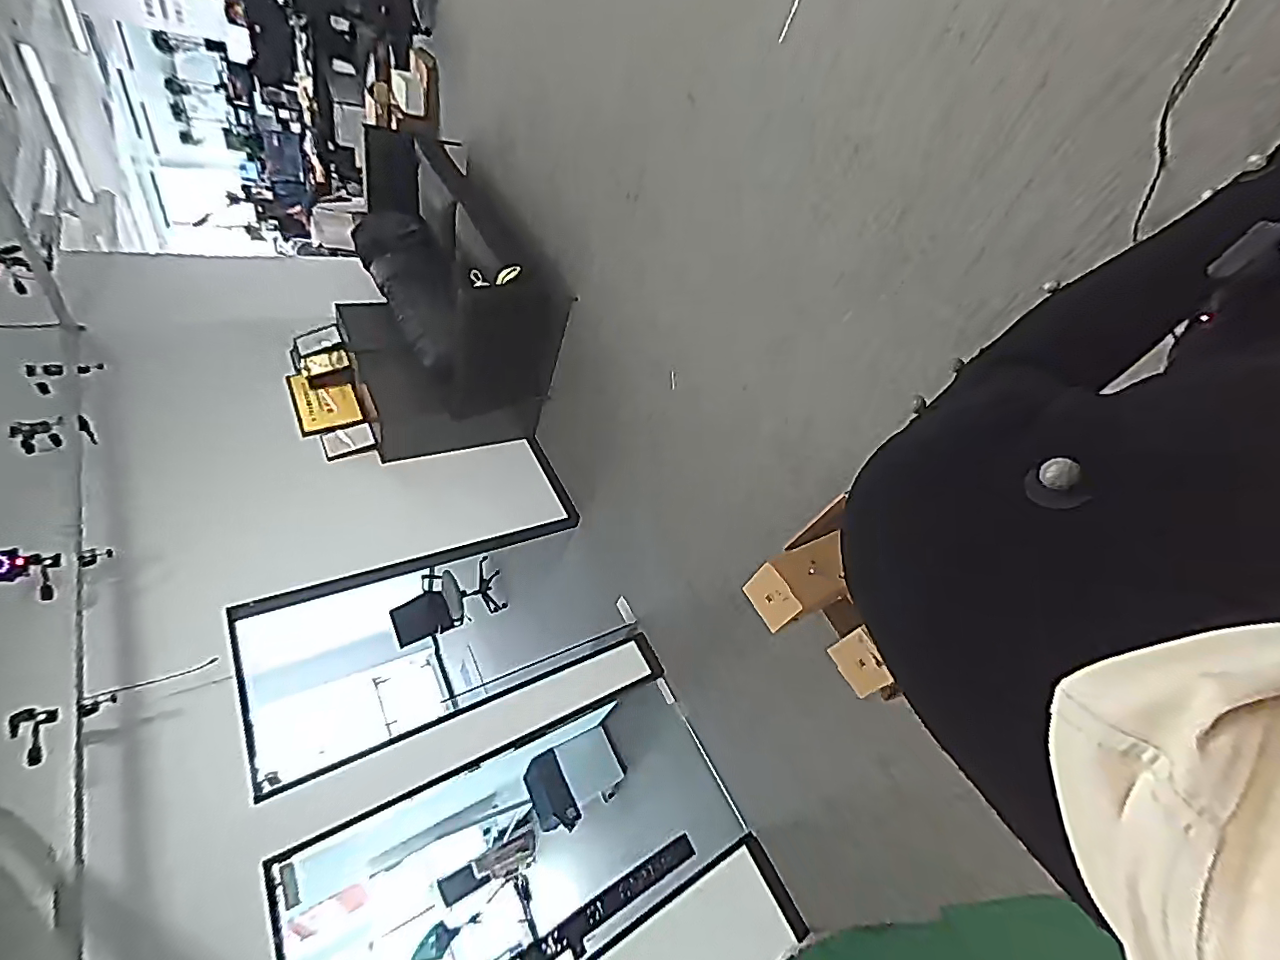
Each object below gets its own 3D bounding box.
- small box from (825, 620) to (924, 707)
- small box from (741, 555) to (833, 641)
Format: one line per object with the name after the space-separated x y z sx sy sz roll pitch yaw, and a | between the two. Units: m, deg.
0.701 0.546 1.615 0.168 0.176 0.179 58 144 26 | small box
0.444 0.354 1.633 0.168 0.176 0.179 57 143 26 | small box
